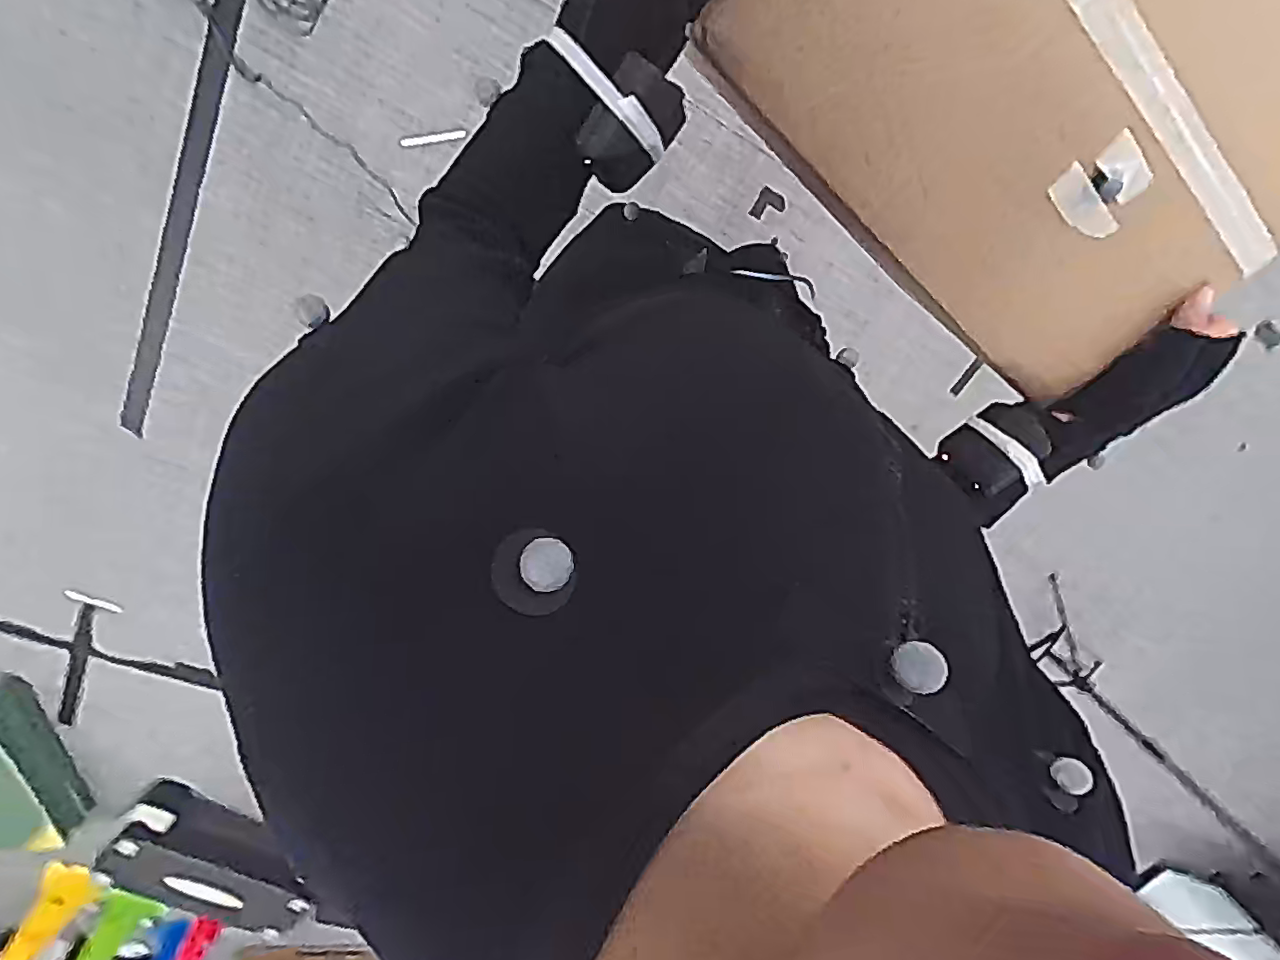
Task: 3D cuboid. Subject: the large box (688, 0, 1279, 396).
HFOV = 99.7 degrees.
[{"bbox_3d":[0.291,-0.354,0.451,0.408,0.320,0.320,34,122,-21],"label":"large box"}]
